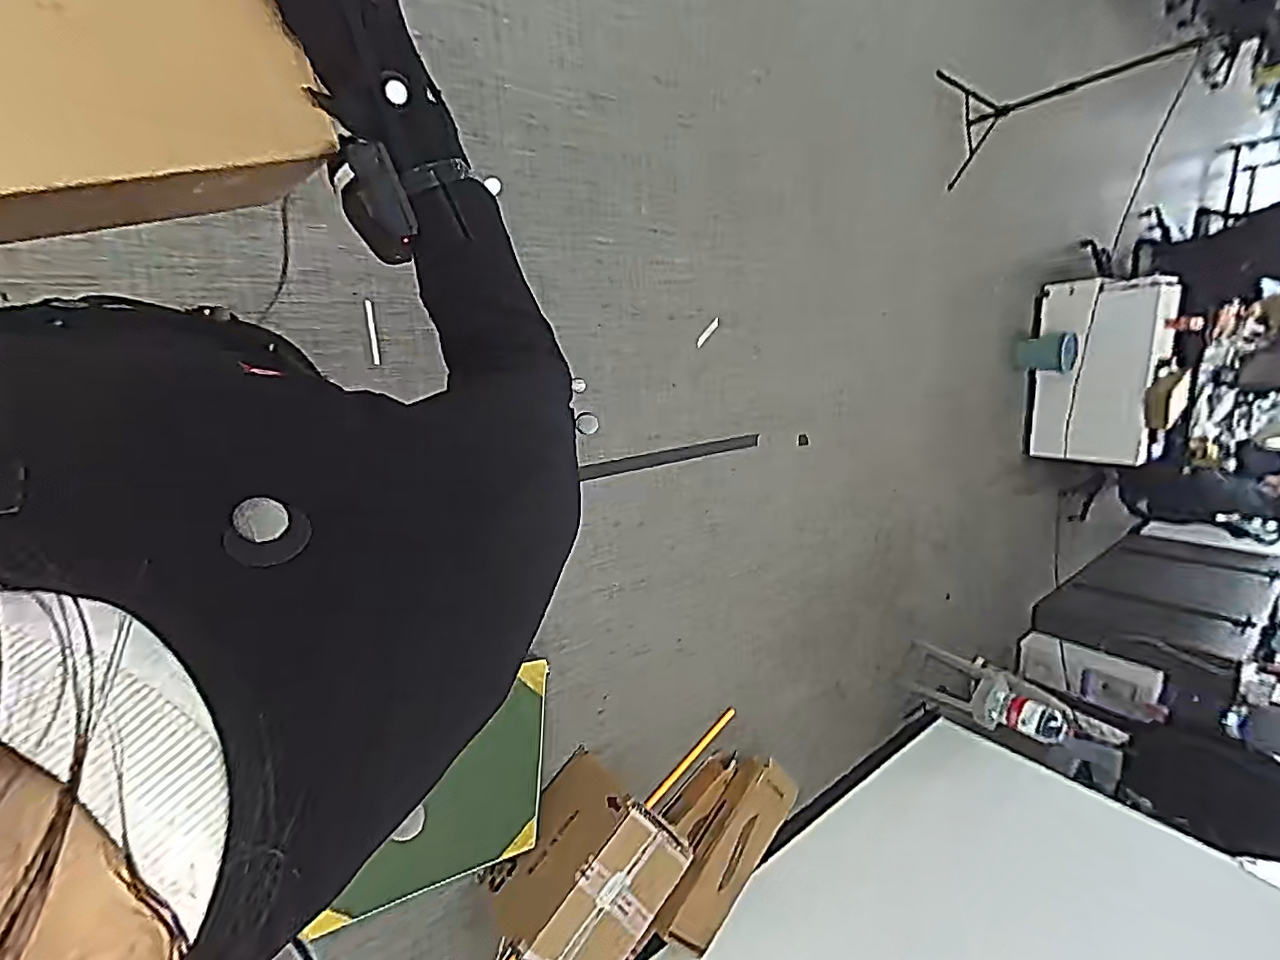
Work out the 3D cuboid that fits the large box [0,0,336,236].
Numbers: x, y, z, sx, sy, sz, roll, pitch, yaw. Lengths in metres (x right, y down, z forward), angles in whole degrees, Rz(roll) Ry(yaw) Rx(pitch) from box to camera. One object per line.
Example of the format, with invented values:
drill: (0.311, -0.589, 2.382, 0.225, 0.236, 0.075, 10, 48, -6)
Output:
large box: (-0.472, -0.312, 0.300, 0.408, 0.320, 0.320, -30, 124, -31)
